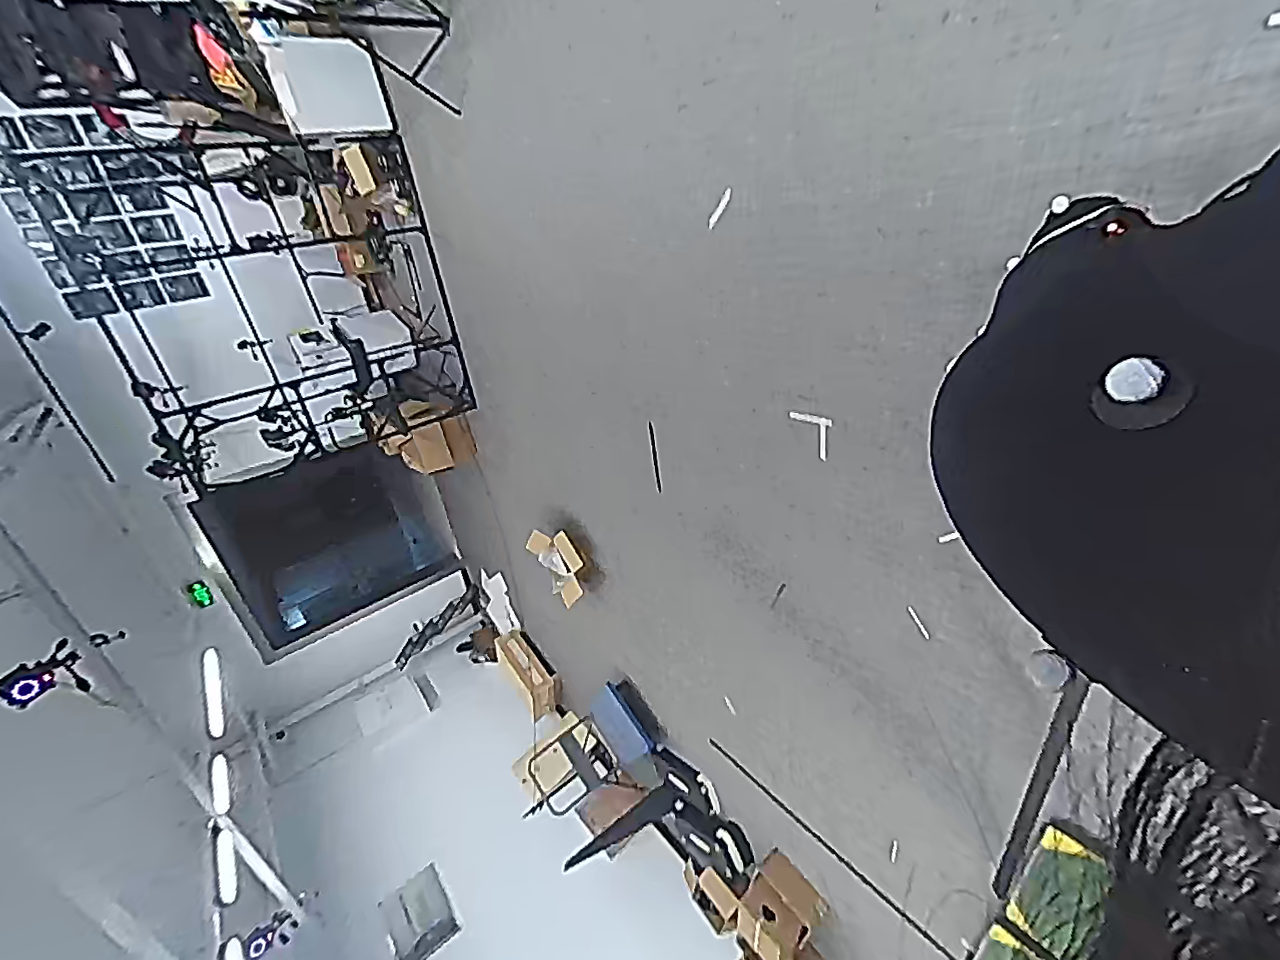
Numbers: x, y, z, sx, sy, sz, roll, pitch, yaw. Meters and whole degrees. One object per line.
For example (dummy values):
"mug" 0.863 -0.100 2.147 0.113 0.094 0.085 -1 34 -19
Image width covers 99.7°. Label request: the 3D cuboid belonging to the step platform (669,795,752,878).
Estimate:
"step platform" 0.486 2.563 3.909 0.684 0.204 0.286 -18 96 58
